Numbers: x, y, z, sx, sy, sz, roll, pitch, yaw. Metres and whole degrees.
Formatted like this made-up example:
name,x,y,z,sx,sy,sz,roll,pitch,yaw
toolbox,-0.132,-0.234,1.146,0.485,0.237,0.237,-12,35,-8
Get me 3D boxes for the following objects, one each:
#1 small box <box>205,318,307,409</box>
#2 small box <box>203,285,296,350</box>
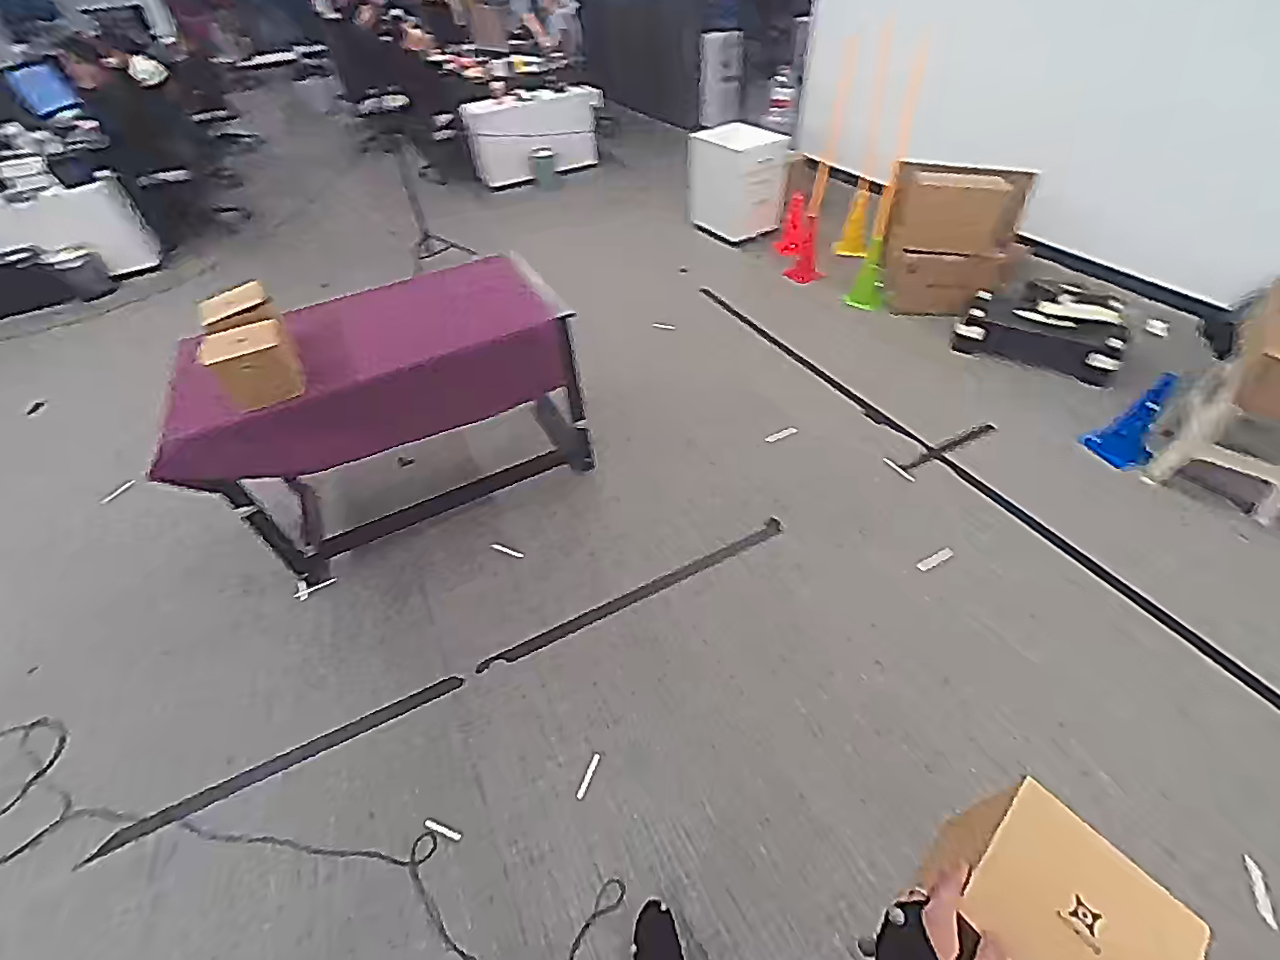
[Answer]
name,x,y,z,sx,sy,sz,roll,pitch,yaw
small box,-1.078,-0.326,1.525,0.179,0.176,0.168,-23,49,-17
small box,-1.204,-0.471,1.671,0.179,0.176,0.168,-25,50,-19
